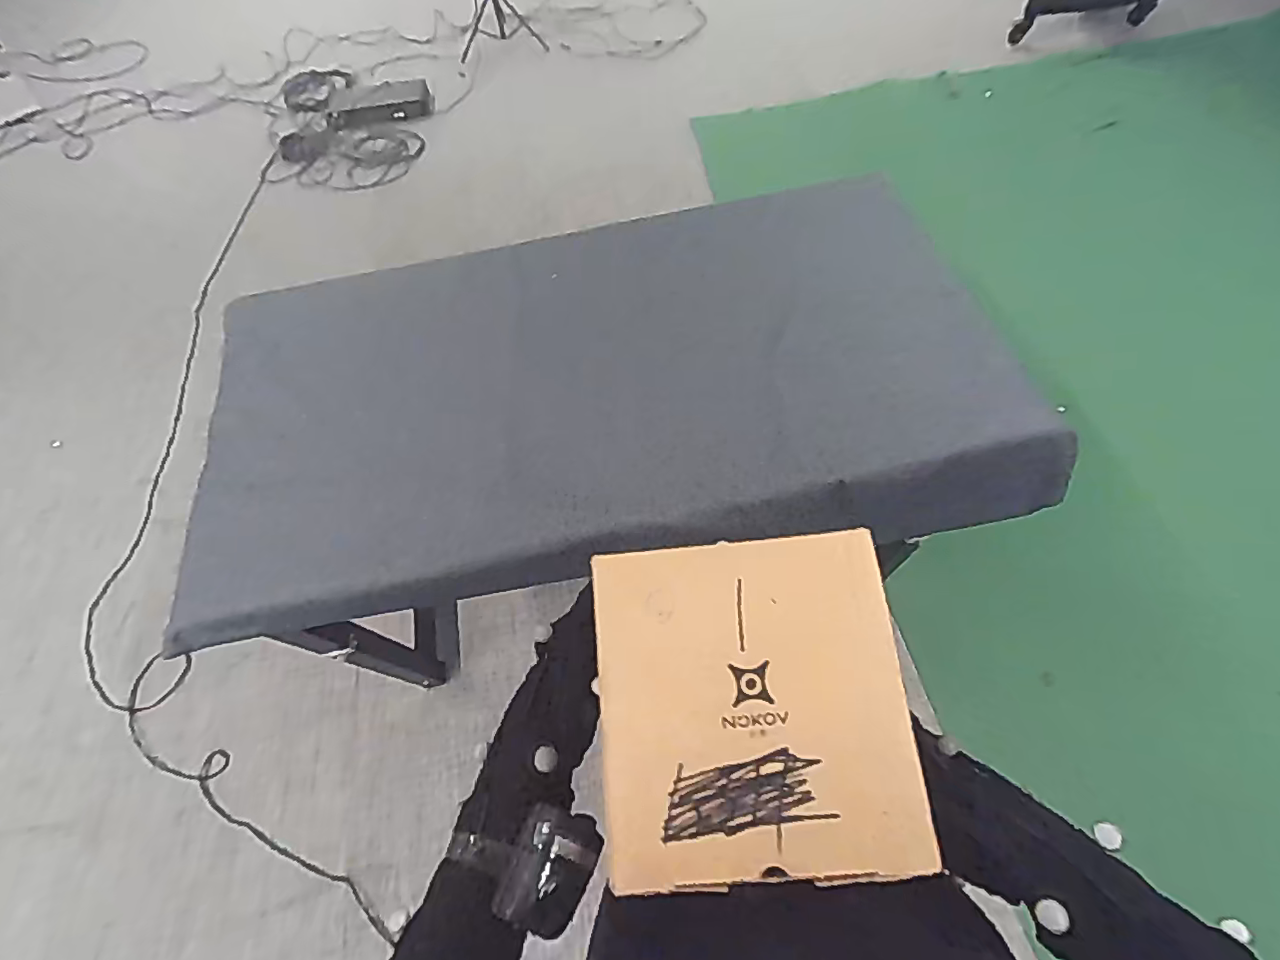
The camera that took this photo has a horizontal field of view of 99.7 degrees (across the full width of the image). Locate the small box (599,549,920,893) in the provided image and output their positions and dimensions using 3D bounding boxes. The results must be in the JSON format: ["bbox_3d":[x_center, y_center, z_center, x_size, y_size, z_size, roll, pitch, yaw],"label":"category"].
[{"bbox_3d":[0.065,0.152,0.381,0.168,0.176,0.179,-4,73,2],"label":"small box"}]
